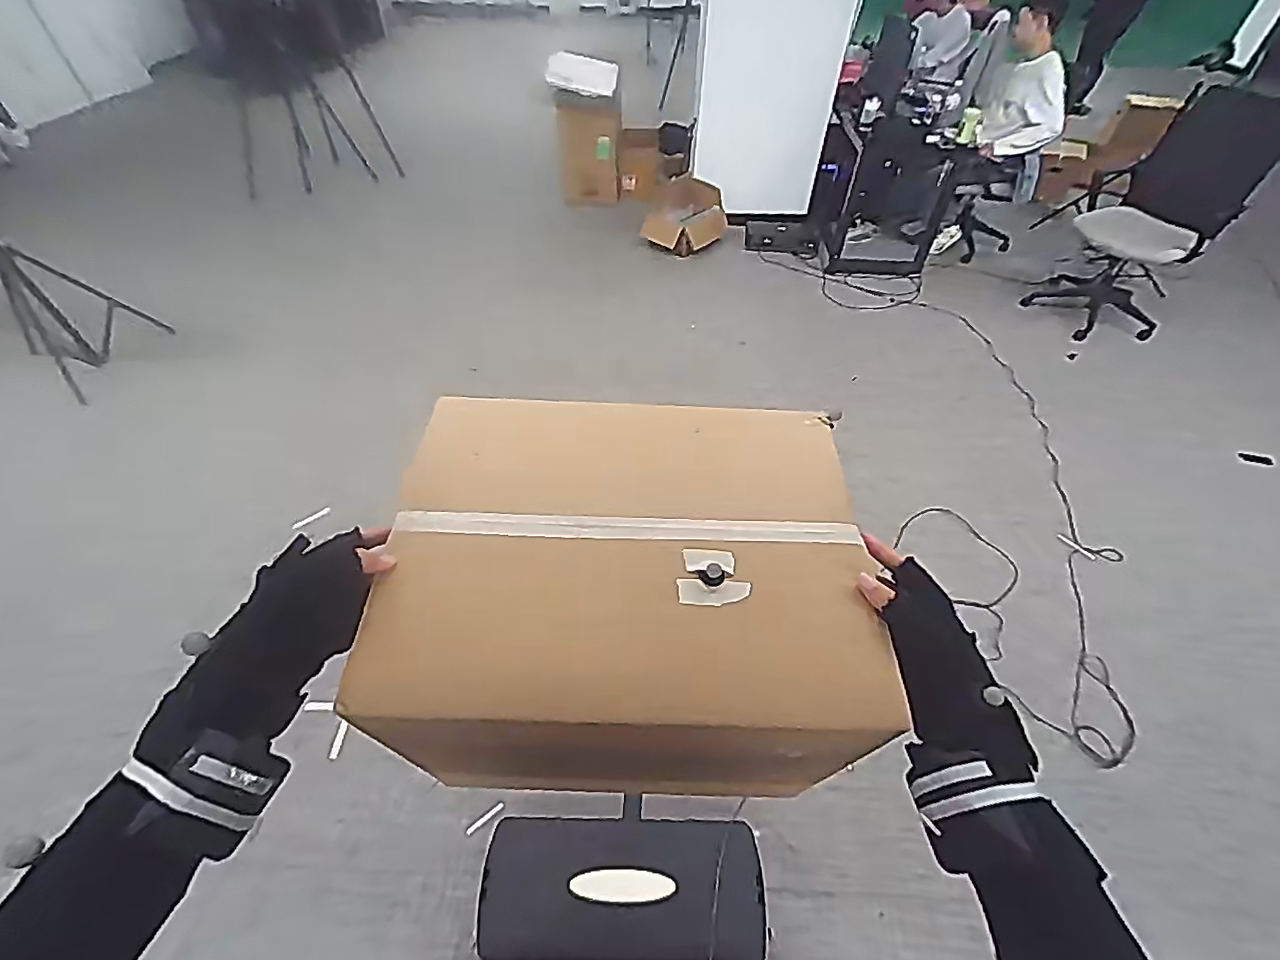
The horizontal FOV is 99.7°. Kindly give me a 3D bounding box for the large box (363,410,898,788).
[{"bbox_3d":[-0.012,0.142,0.601,0.408,0.320,0.320,2,53,-2],"label":"large box"}]
